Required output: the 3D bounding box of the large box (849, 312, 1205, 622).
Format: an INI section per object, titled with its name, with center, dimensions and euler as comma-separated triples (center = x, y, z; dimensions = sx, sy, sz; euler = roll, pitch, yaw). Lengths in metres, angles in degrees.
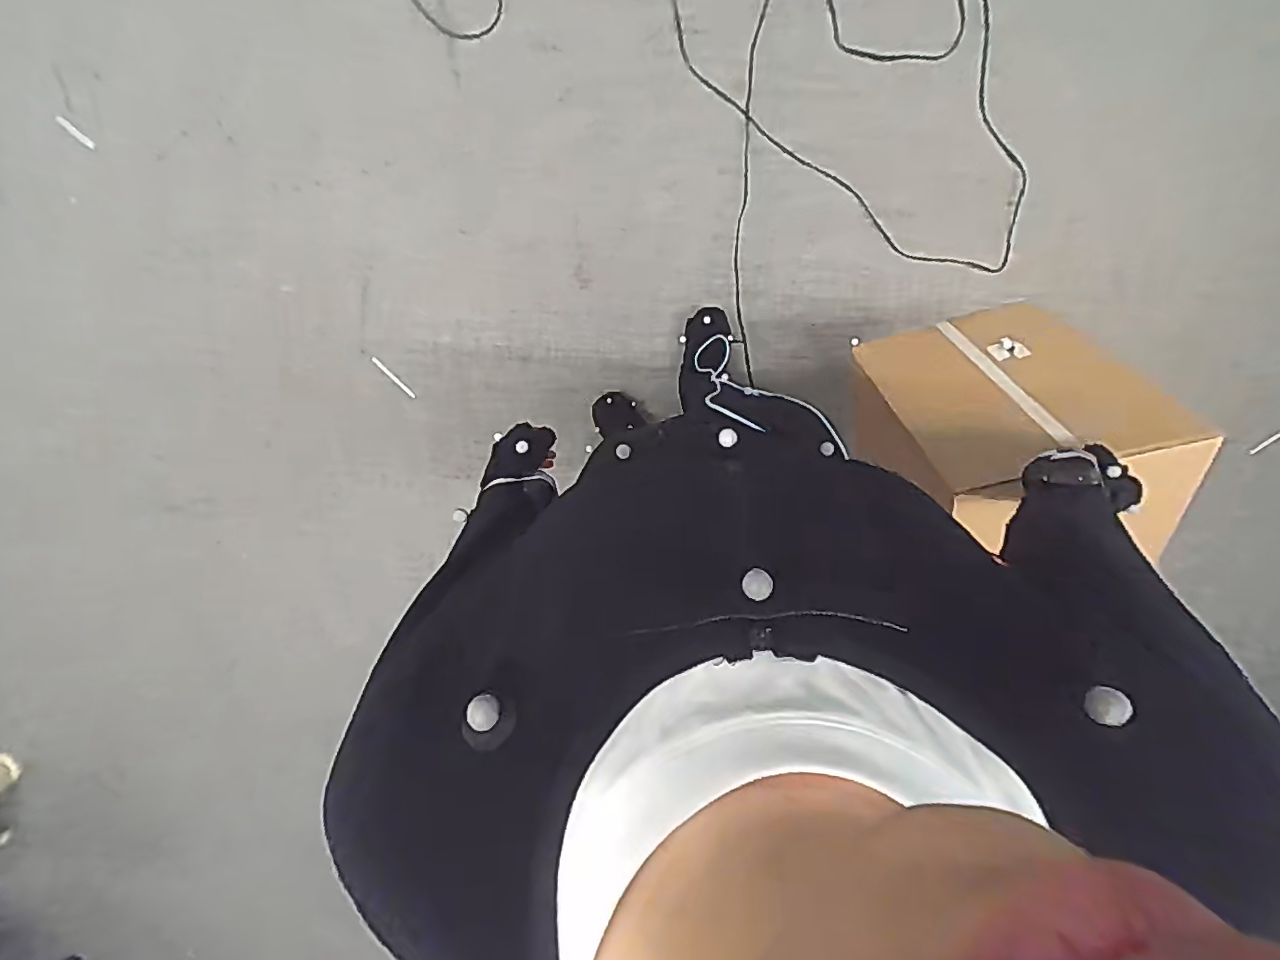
[large box]
center = 0.583, -0.030, 0.925
dimensions = 0.320, 0.408, 0.320
euler = -12, 129, 8
